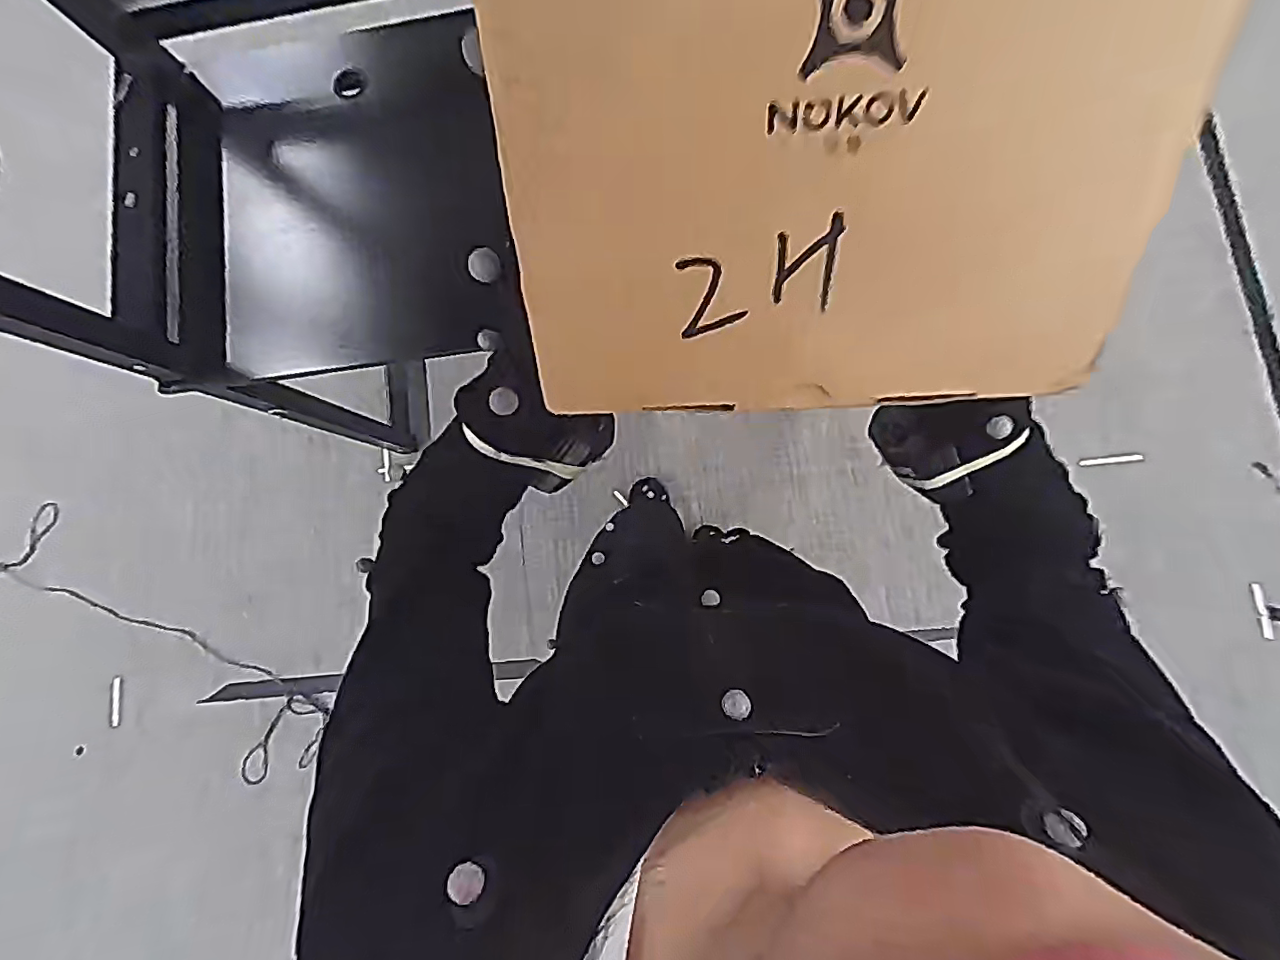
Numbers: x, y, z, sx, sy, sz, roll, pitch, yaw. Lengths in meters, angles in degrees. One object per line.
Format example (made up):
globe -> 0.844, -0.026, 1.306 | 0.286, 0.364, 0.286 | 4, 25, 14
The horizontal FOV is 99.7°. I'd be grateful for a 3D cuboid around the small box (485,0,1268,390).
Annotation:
small box -> 0.050, -0.146, 0.181 | 0.168, 0.176, 0.179 | -2, 124, 4
